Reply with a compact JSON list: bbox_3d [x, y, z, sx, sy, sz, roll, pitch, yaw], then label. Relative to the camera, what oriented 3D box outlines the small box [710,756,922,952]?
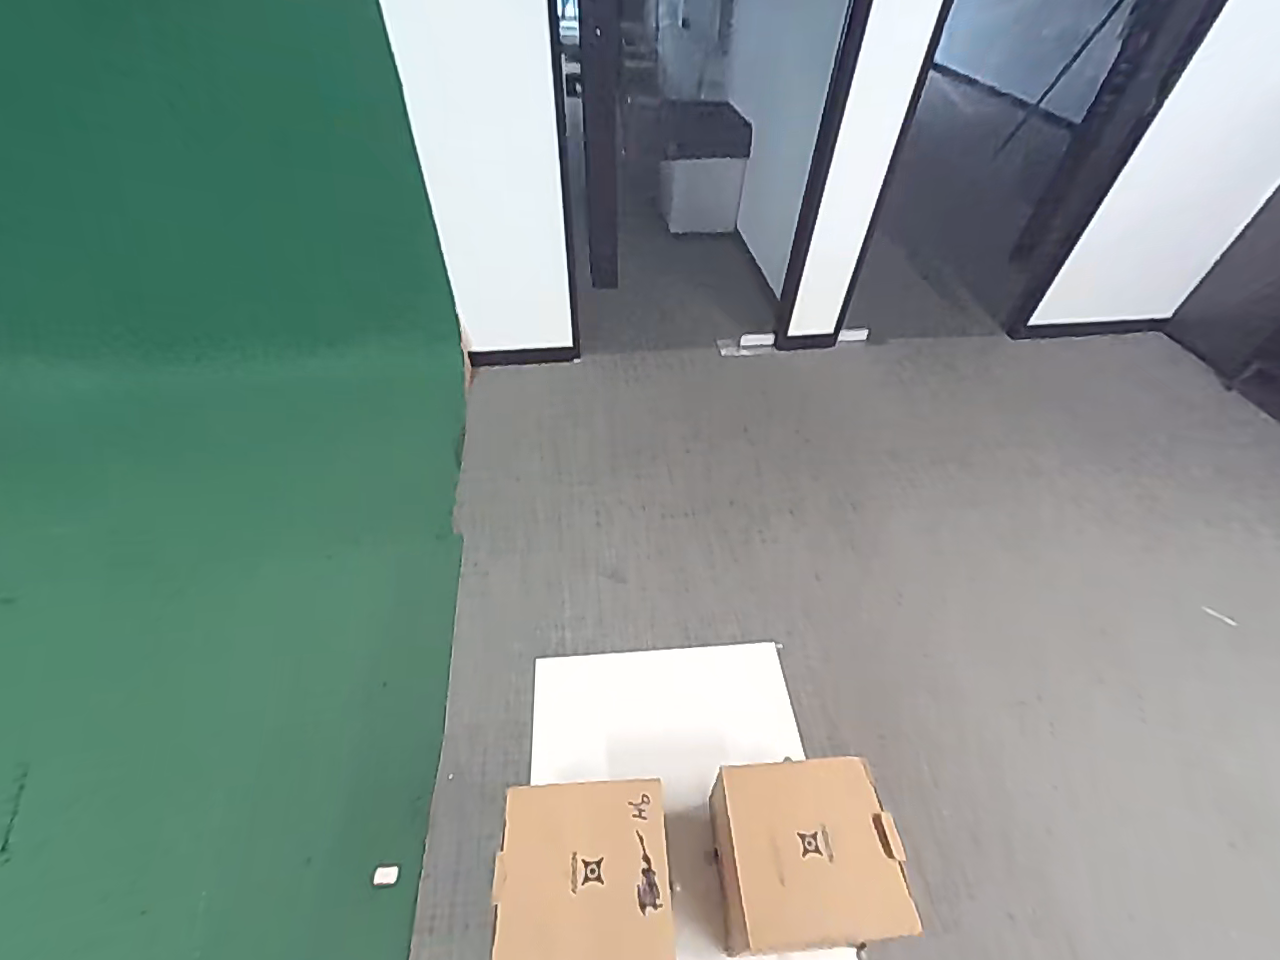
[{"bbox_3d":[0.186,0.440,0.636,0.179,0.176,0.168,-3,47,-3],"label":"small box"}]

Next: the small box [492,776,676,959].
[{"bbox_3d":[-0.058,0.452,0.613,0.179,0.176,0.168,-1,48,-4],"label":"small box"}]
